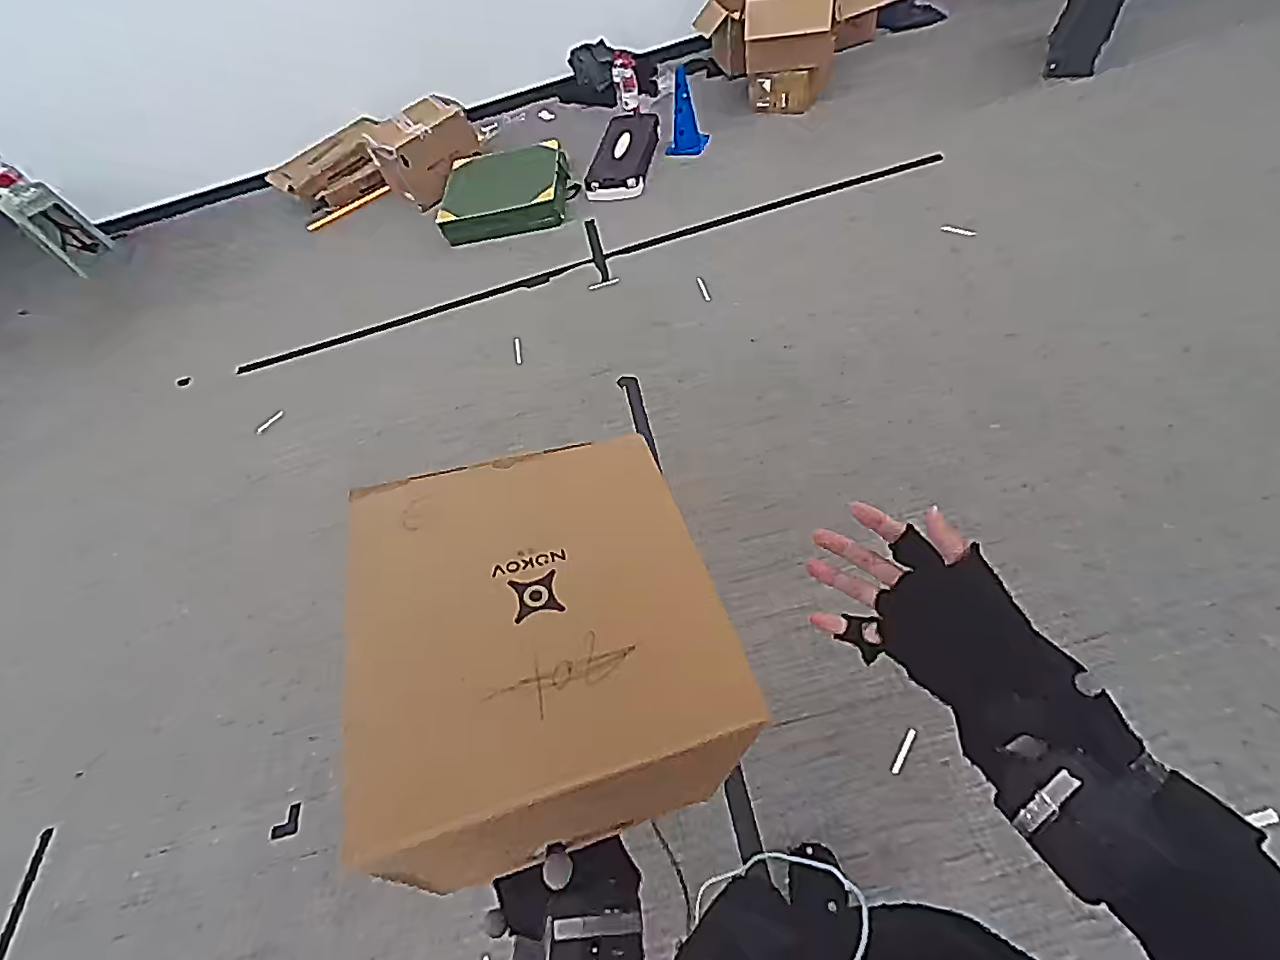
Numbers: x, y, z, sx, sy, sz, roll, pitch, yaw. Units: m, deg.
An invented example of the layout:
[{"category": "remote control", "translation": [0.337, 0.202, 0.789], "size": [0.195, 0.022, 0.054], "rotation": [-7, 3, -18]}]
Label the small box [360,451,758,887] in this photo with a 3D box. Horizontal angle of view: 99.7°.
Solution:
[{"category": "small box", "translation": [-0.055, 0.112, 0.328], "size": [0.168, 0.176, 0.179], "rotation": [-12, 52, -14]}]
